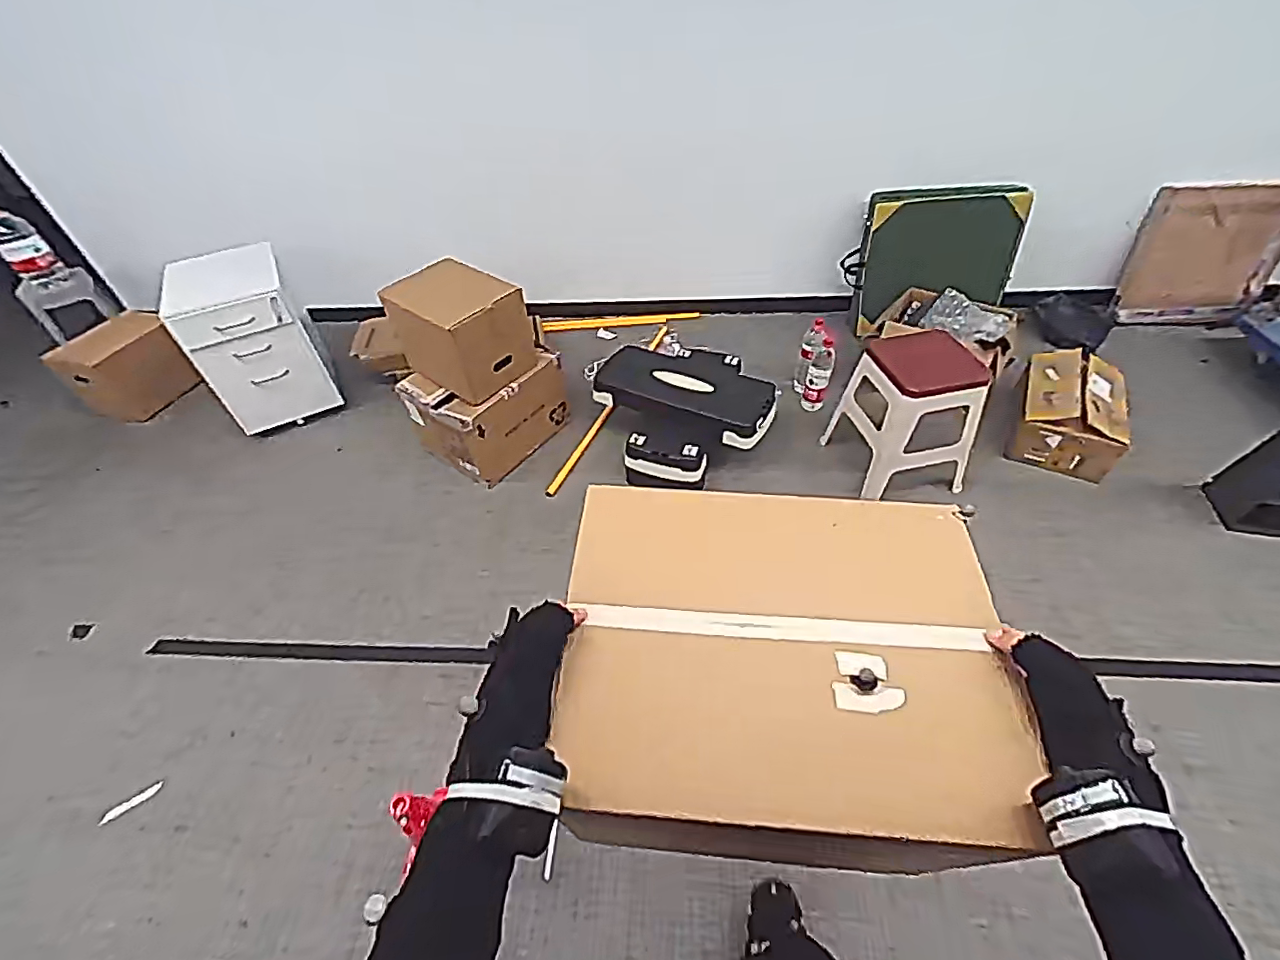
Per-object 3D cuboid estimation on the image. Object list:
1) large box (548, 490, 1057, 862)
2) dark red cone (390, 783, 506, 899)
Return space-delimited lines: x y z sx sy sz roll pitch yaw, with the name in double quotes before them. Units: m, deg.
"large box" 0.131 0.232 0.627 0.408 0.320 0.320 3 52 3
"dark red cone" -0.432 0.712 1.124 0.201 0.394 0.202 5 47 8
